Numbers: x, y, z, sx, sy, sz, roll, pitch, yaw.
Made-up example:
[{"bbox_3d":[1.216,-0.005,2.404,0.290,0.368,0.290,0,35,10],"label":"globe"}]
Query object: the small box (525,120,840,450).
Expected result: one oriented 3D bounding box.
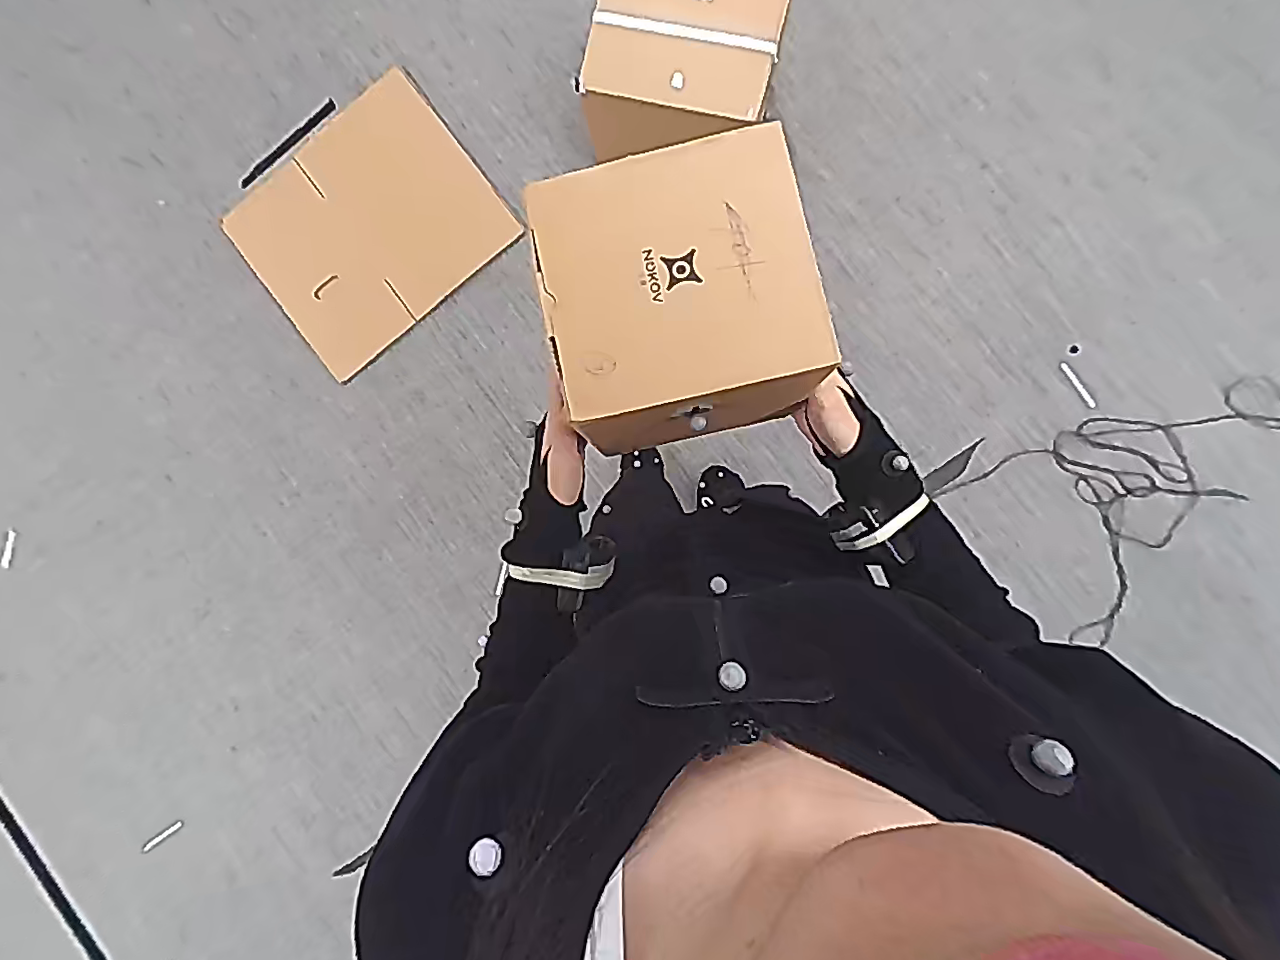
[{"bbox_3d":[0.030,-0.127,0.423,0.179,0.176,0.168,-13,85,3],"label":"small box"}]
